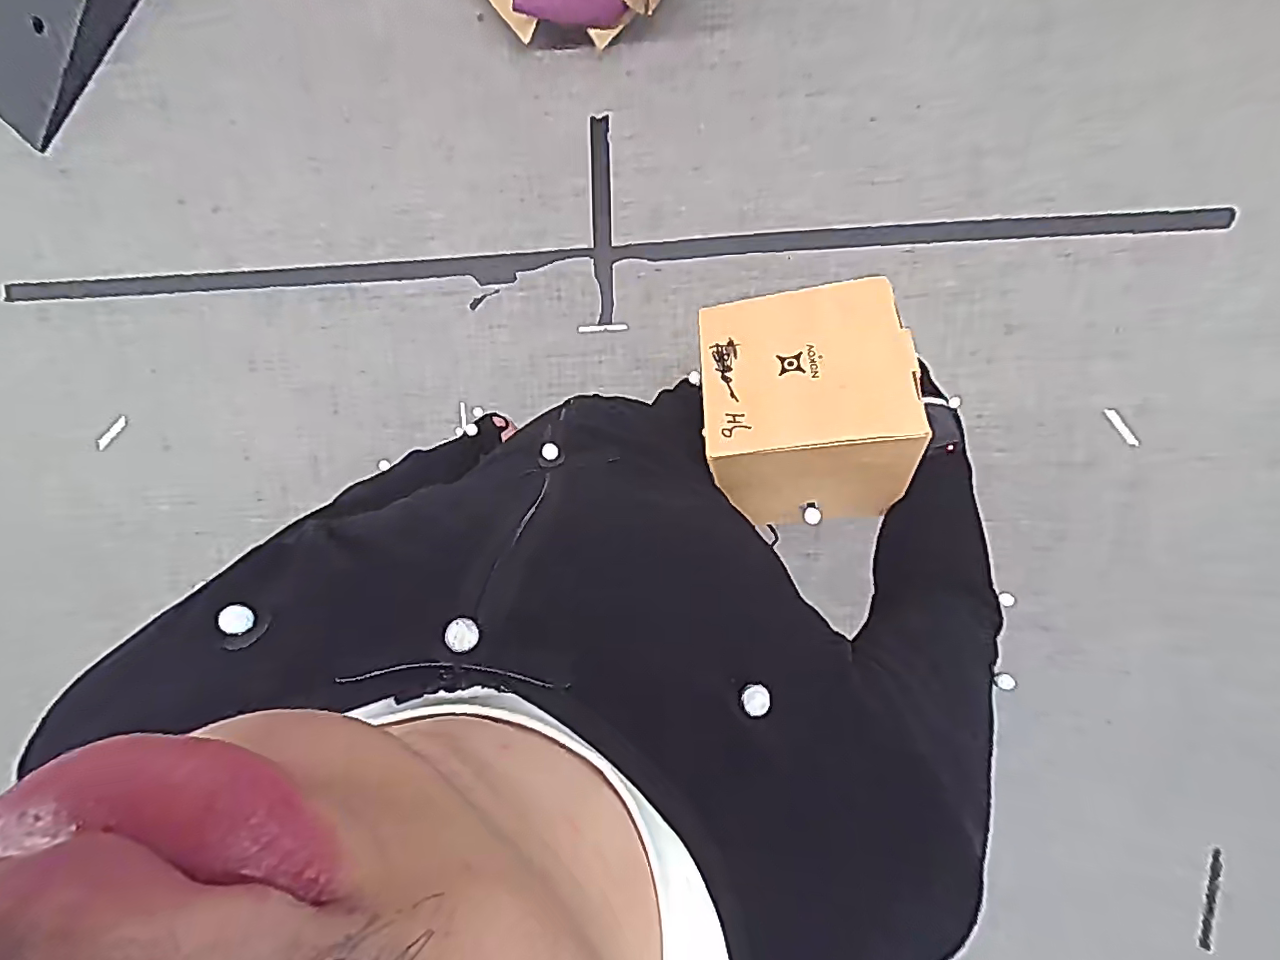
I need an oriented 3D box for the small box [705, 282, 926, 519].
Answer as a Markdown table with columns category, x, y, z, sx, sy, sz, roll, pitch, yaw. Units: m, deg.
| category | x | y | z | sx | sy | sz | roll | pitch | yaw |
| --- | --- | --- | --- | --- | --- | --- | --- | --- | --- |
| small box | 0.165 | -0.069 | 0.554 | 0.179 | 0.176 | 0.168 | -6 | 62 | 12 |
